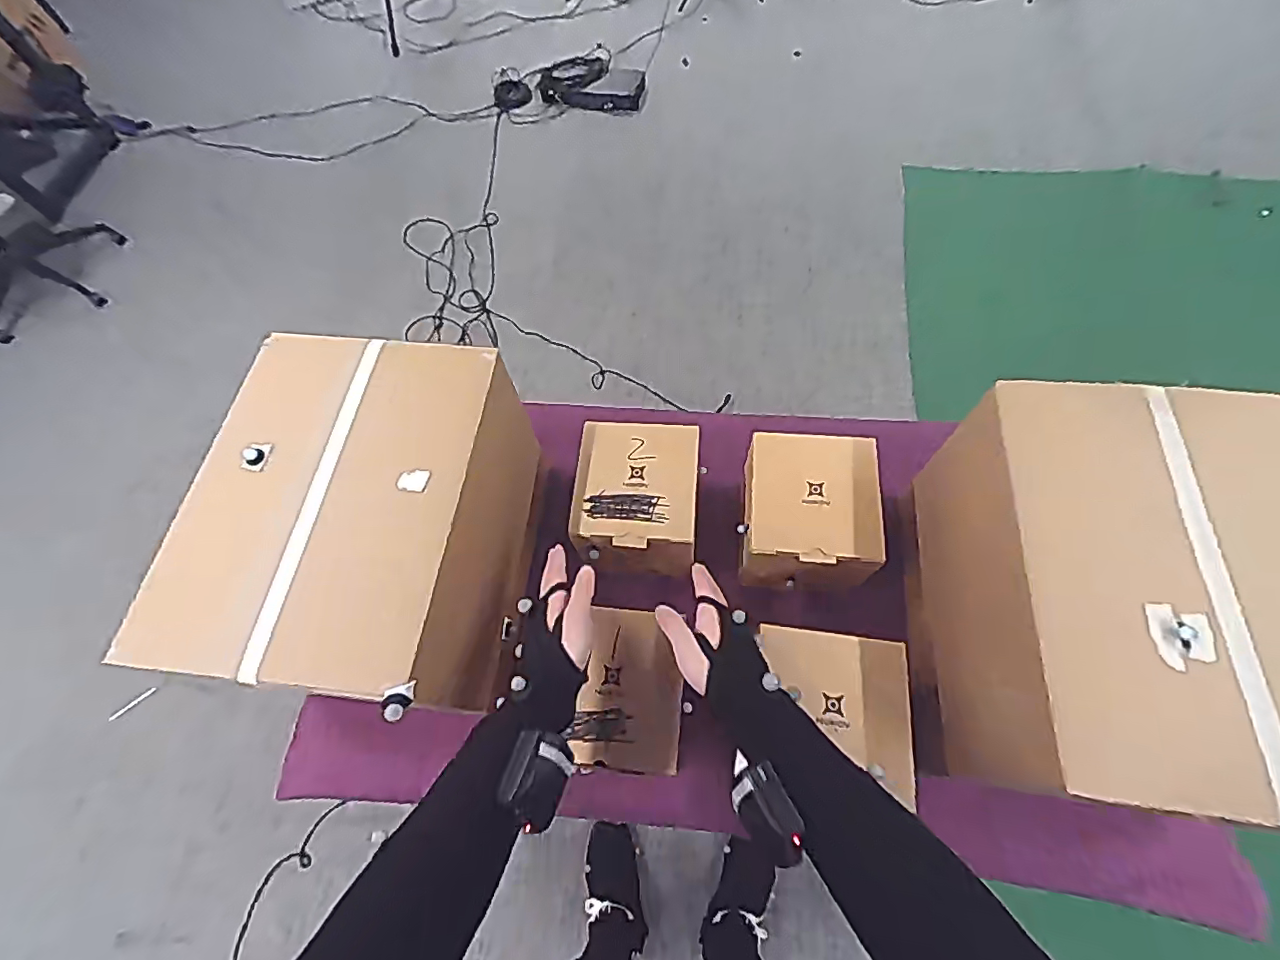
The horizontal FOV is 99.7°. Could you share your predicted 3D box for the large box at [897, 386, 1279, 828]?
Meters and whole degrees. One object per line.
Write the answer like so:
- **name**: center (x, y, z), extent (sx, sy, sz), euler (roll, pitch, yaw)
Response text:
- **large box**: center (0.526, 0.148, 0.631), extent (0.320, 0.320, 0.408), euler (5, 65, 7)
